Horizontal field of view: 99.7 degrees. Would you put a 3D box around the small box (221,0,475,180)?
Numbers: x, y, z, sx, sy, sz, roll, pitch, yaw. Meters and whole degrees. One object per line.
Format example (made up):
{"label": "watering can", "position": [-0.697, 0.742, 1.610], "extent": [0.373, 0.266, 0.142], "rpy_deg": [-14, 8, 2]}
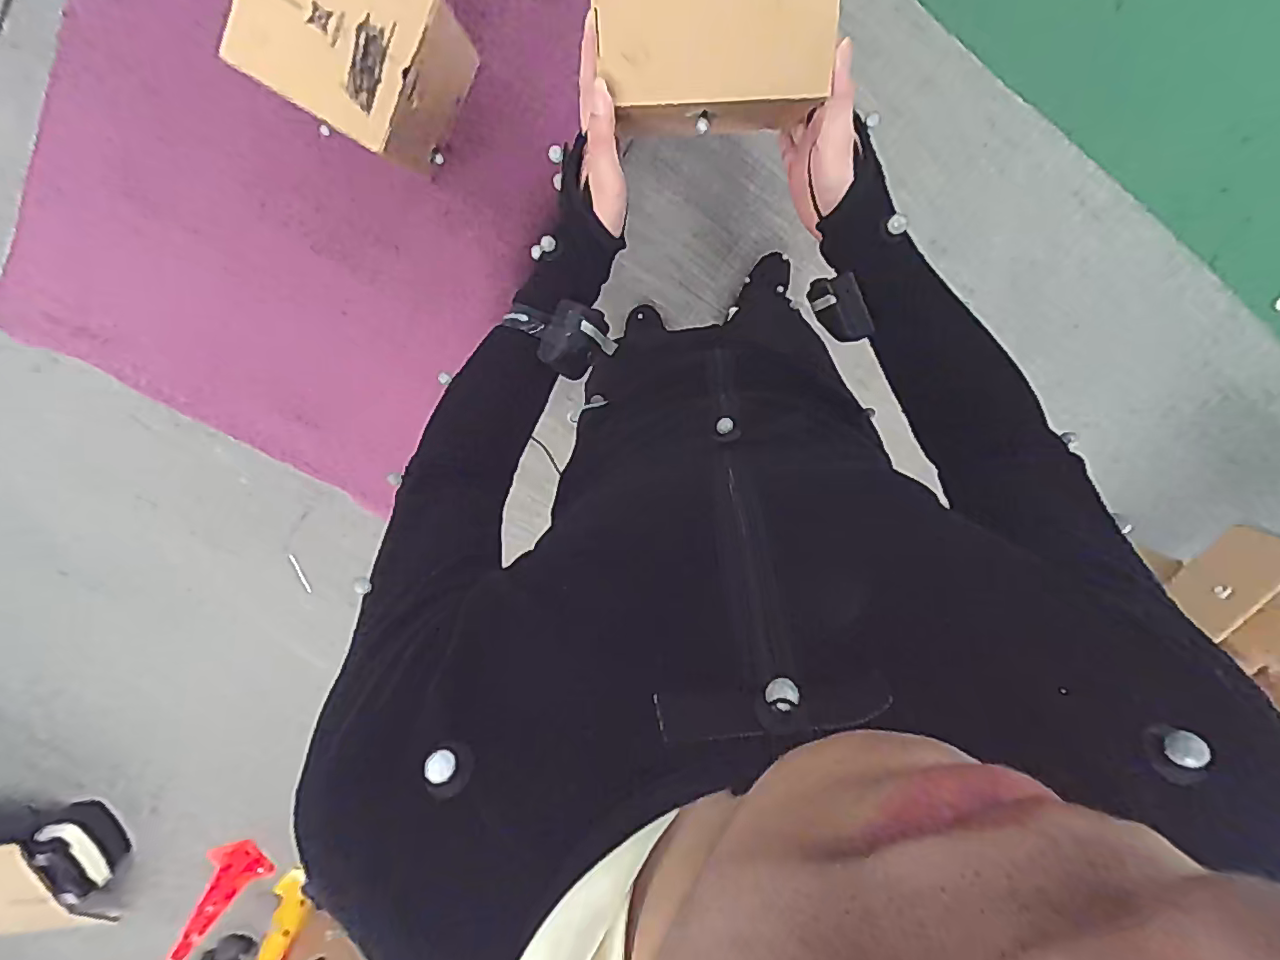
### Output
{"label": "small box", "position": [-0.314, -0.473, 0.619], "extent": [0.179, 0.176, 0.168], "rpy_deg": [28, 105, -10]}

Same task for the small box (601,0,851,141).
{"label": "small box", "position": [0.063, -0.385, 0.441], "extent": [0.179, 0.176, 0.168], "rpy_deg": [0, 115, 2]}
